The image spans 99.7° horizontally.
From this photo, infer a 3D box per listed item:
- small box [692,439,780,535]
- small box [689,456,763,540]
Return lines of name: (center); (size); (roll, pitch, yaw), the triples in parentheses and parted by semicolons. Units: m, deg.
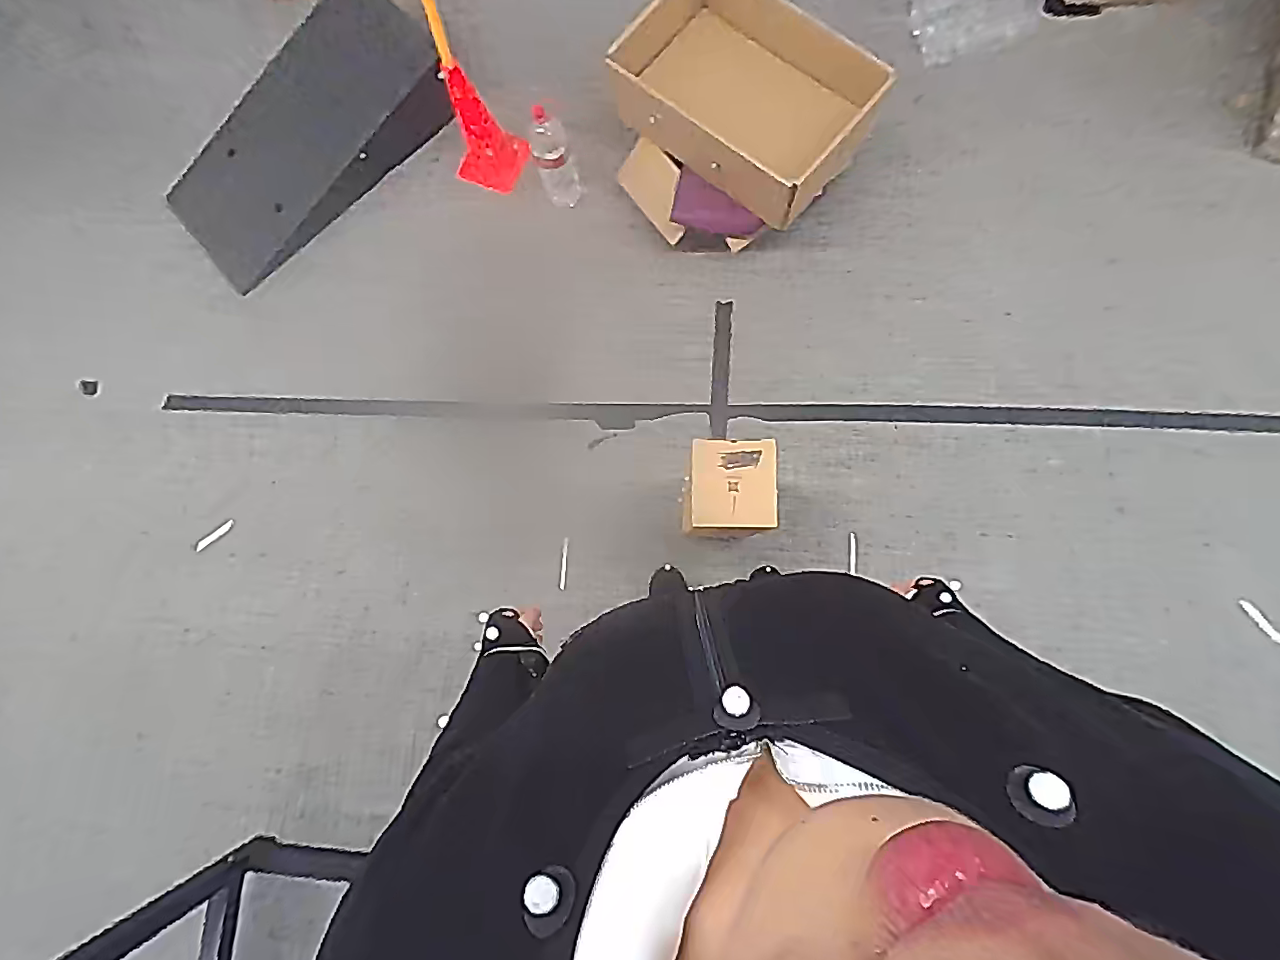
small box: (0.194, 0.019, 1.125); (0.168, 0.176, 0.179); (1, 81, 5)
small box: (0.203, 0.047, 1.288); (0.168, 0.176, 0.179); (1, 80, 5)
